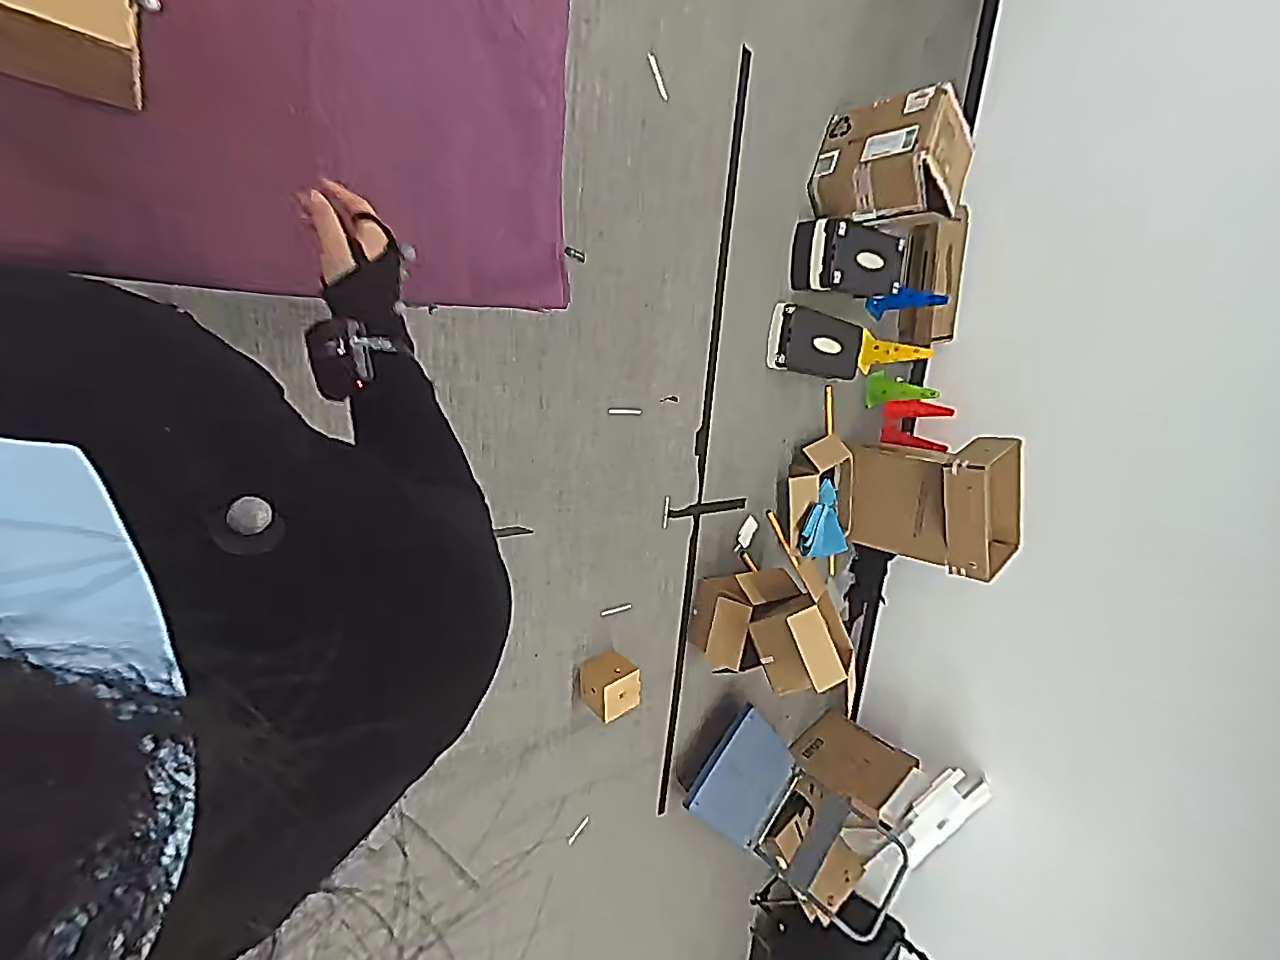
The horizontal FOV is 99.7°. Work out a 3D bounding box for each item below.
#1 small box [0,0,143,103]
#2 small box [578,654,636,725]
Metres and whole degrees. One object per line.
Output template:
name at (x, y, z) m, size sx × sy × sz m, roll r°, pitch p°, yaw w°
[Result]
small box at (-0.492, -0.419, 0.402) m, size 0.179 × 0.176 × 0.168 m, roll -2°, pitch 104°, yaw -42°
small box at (-0.133, 0.815, 2.120) m, size 0.179 × 0.176 × 0.168 m, roll -14°, pitch 112°, yaw -40°
